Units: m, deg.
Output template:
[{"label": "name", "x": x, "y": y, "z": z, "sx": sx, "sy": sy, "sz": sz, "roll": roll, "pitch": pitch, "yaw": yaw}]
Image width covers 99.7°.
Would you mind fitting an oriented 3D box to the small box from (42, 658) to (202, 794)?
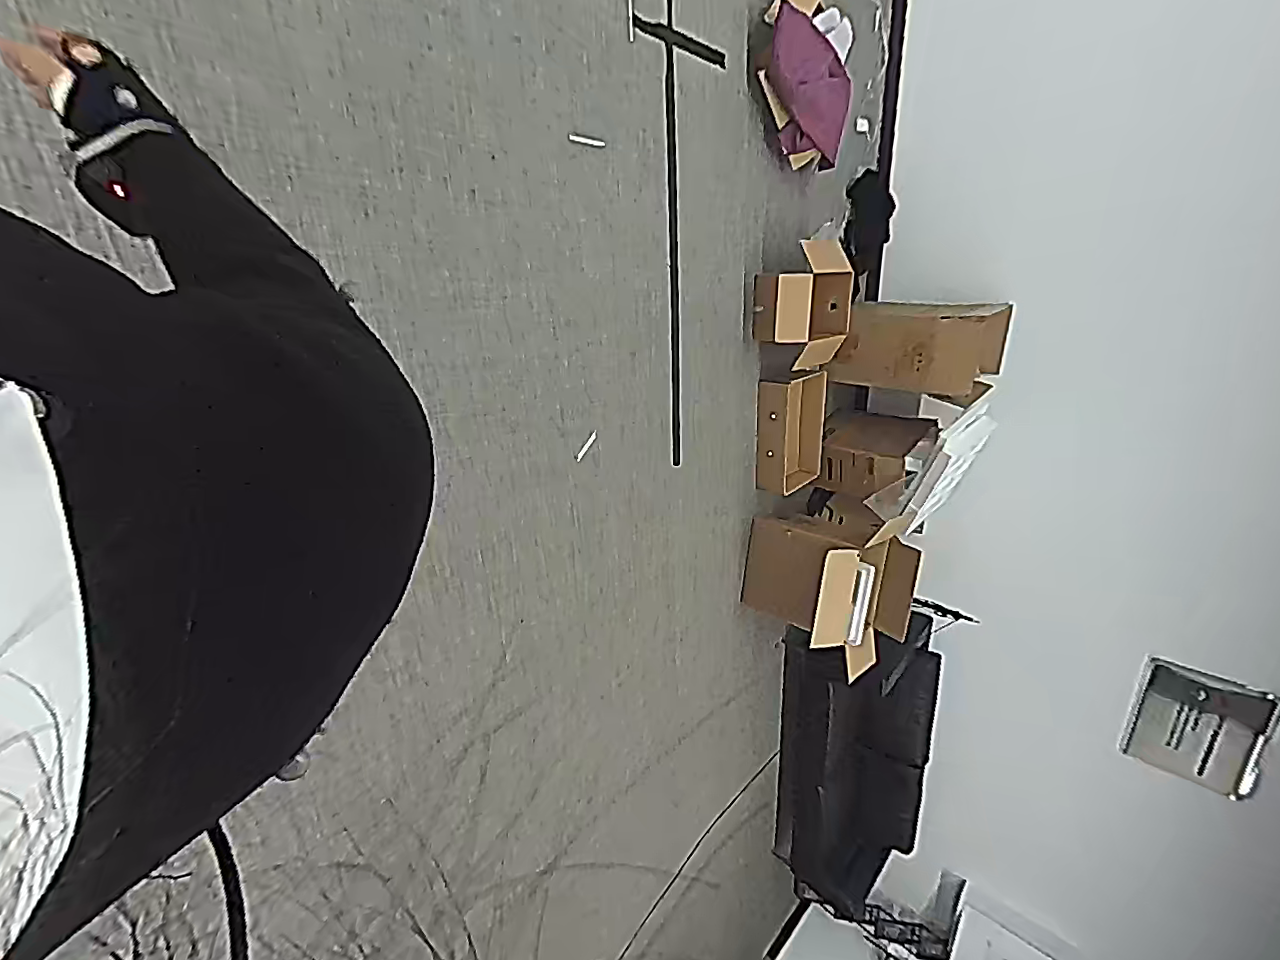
[{"label": "small box", "x": -0.933, "y": 0.409, "z": 0.983, "sx": 0.168, "sy": 0.176, "sz": 0.179, "roll": -24, "pitch": 119, "yaw": -41}]
